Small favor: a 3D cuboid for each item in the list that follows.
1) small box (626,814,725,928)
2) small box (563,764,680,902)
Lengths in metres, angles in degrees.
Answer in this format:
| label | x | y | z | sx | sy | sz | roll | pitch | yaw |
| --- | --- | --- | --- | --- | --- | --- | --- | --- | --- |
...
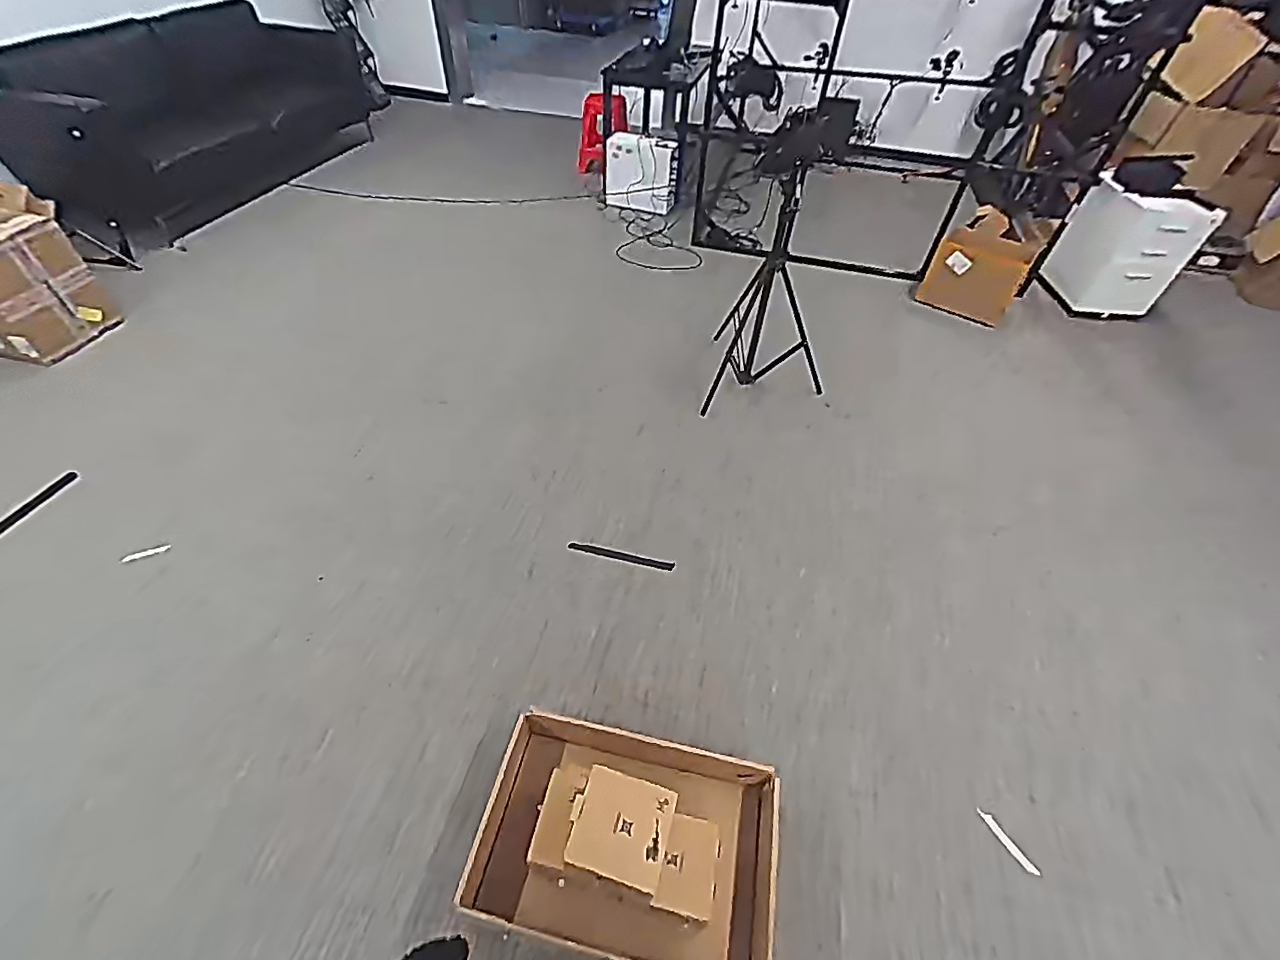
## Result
| label | x | y | z | sx | sy | sz | roll | pitch | yaw |
| --- | --- | --- | --- | --- | --- | --- | --- | --- | --- |
| small box | 0.074 | 0.820 | 1.142 | 0.179 | 0.176 | 0.168 | 10 | 47 | 9 |
| small box | -0.033 | 0.682 | 1.040 | 0.179 | 0.176 | 0.168 | 14 | 48 | 9 |
